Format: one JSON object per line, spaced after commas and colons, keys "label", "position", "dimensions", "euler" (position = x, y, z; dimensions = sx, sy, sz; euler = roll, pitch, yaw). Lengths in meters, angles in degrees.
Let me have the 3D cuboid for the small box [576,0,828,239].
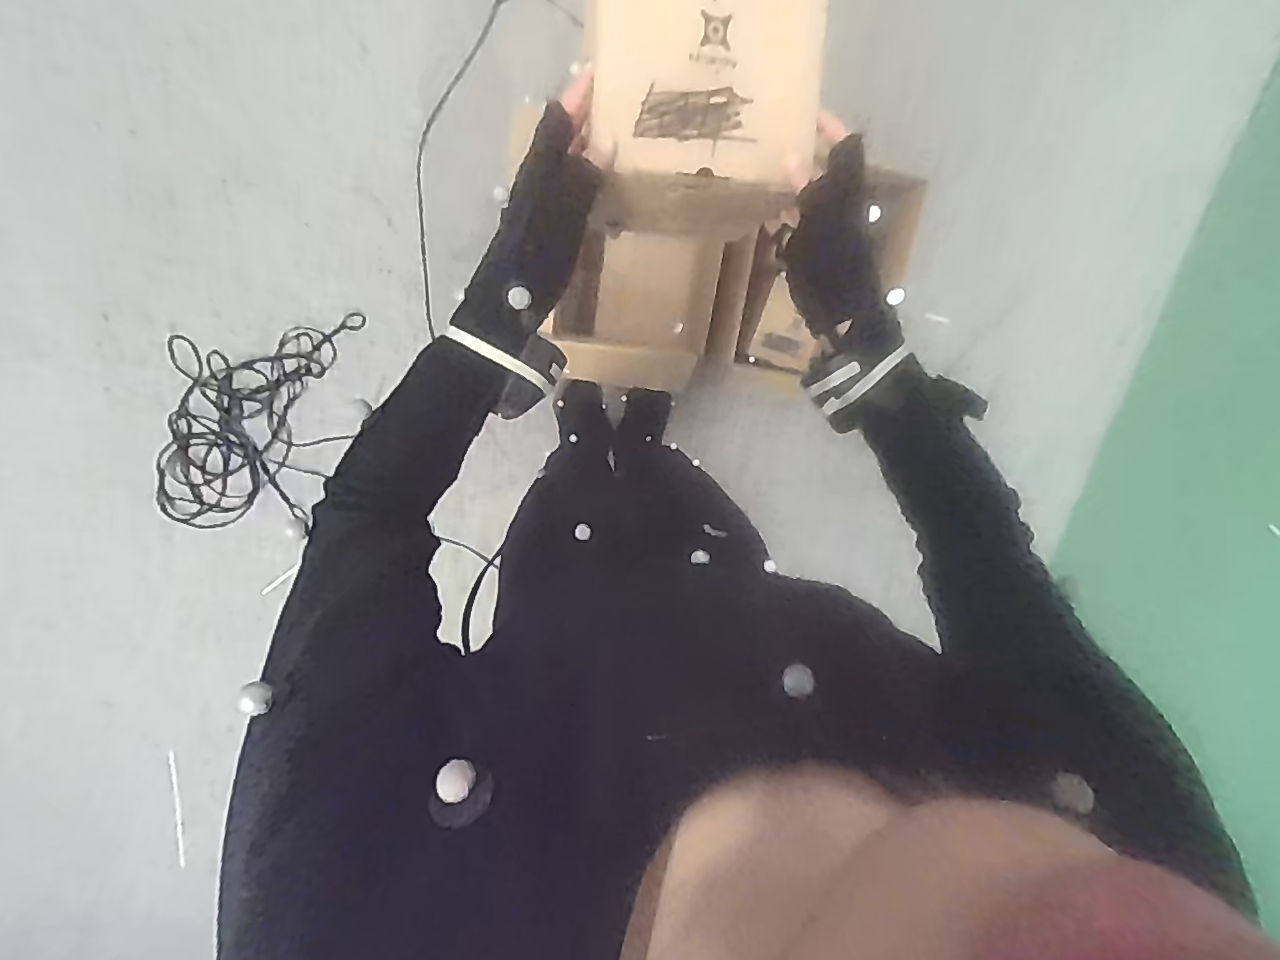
{"label": "small box", "position": [0.035, -0.311, 0.444], "dimensions": [0.168, 0.176, 0.179], "euler": [1, 101, -9]}
